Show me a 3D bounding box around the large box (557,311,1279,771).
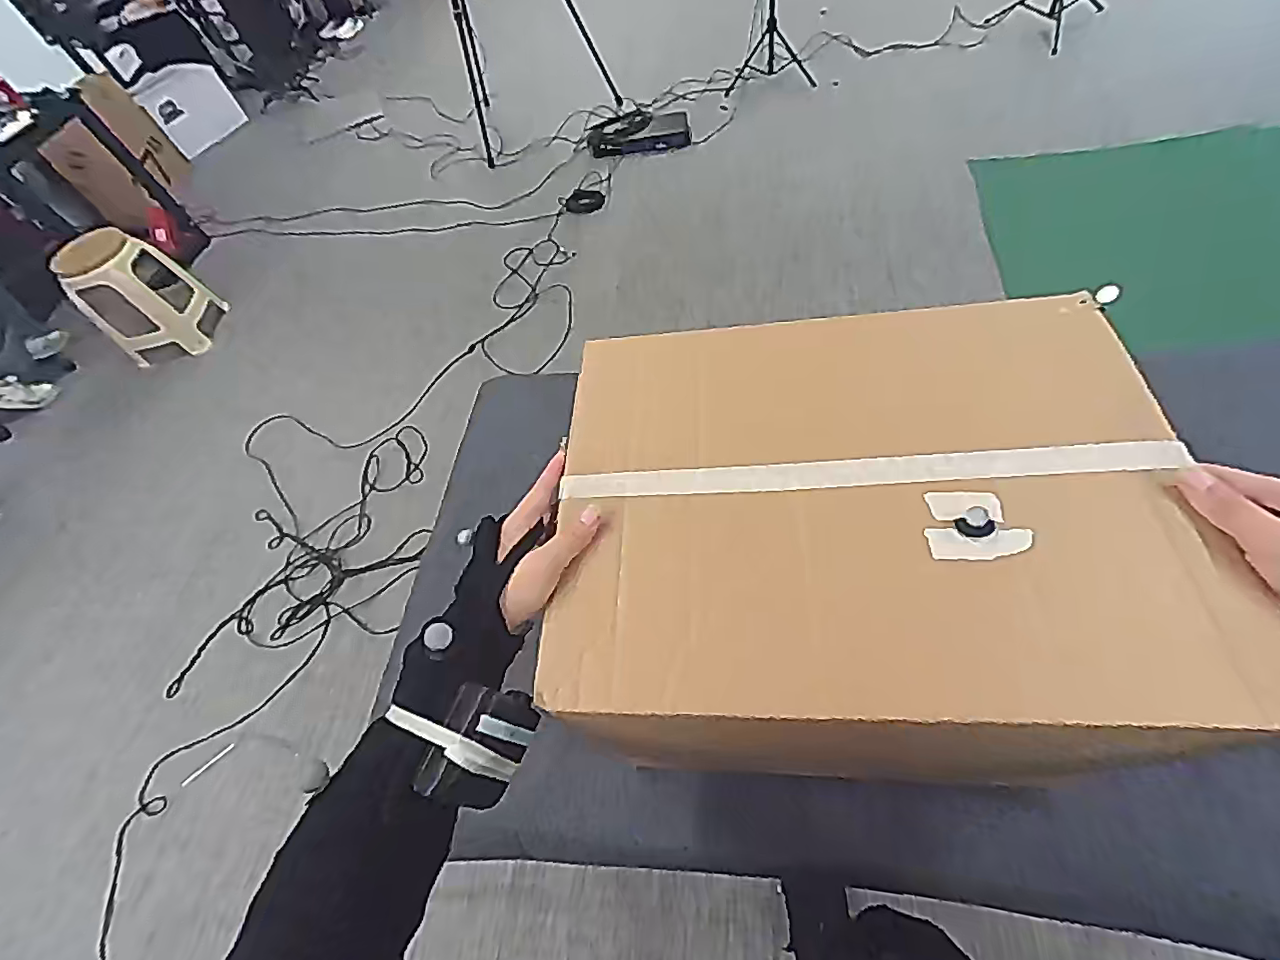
[{"bbox_3d":[0.168,0.082,0.506,0.408,0.320,0.320,-3,57,9],"label":"large box"}]
